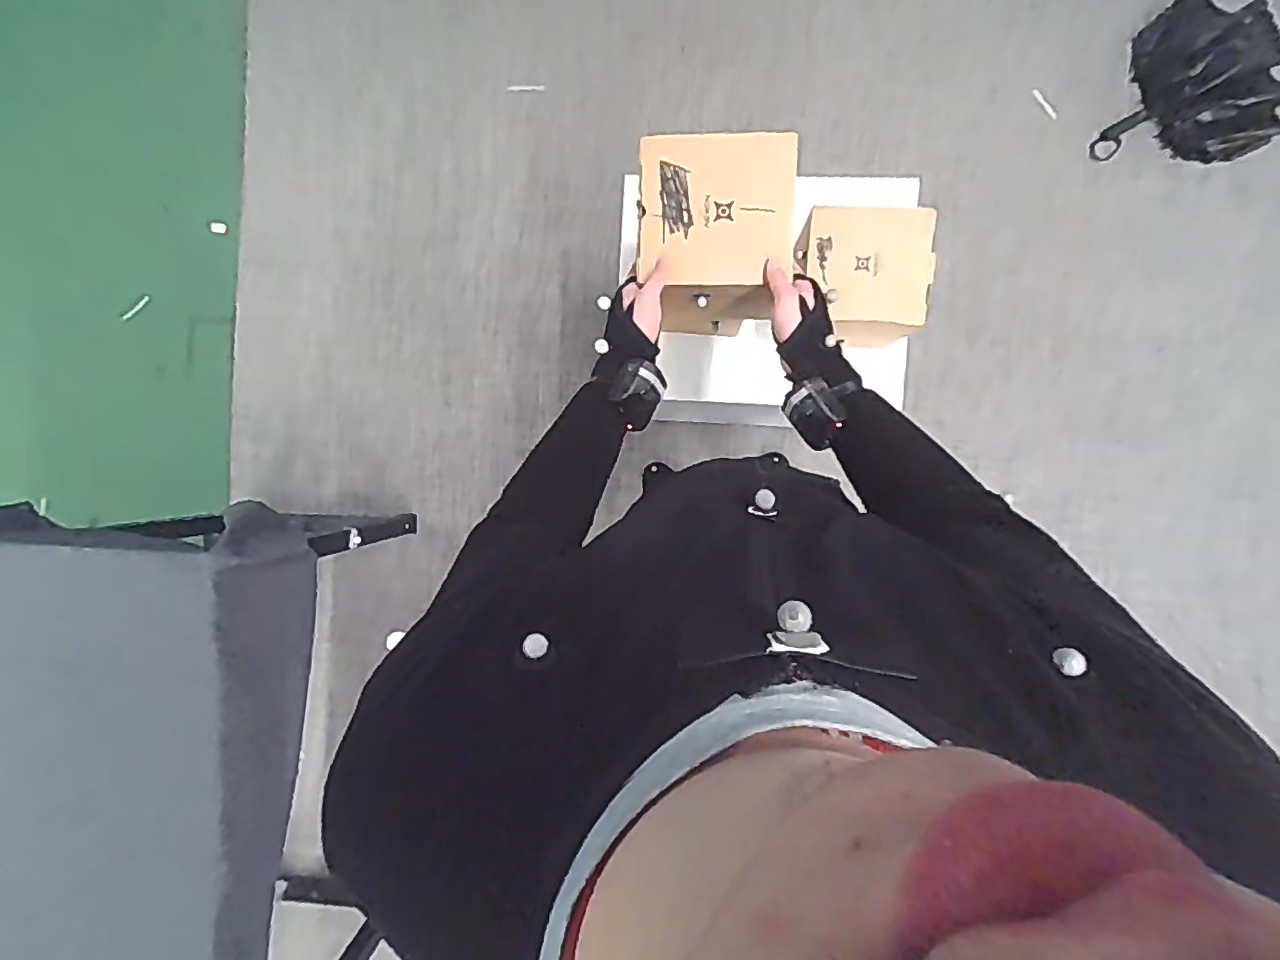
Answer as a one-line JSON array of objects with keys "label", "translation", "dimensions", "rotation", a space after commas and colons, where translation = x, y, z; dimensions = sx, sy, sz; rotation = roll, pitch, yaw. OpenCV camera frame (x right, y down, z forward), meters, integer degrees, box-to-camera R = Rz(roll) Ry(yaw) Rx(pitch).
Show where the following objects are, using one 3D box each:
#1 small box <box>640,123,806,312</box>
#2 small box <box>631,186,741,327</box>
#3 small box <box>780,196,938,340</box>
[{"label": "small box", "translation": [0.094, -0.309, 0.670], "dimensions": [0.179, 0.176, 0.168], "rotation": [2, 95, 3]}, {"label": "small box", "translation": [0.084, -0.349, 0.869], "dimensions": [0.179, 0.176, 0.168], "rotation": [5, 92, 4]}, {"label": "small box", "translation": [0.332, -0.322, 0.851], "dimensions": [0.179, 0.176, 0.168], "rotation": [5, 94, 4]}]
